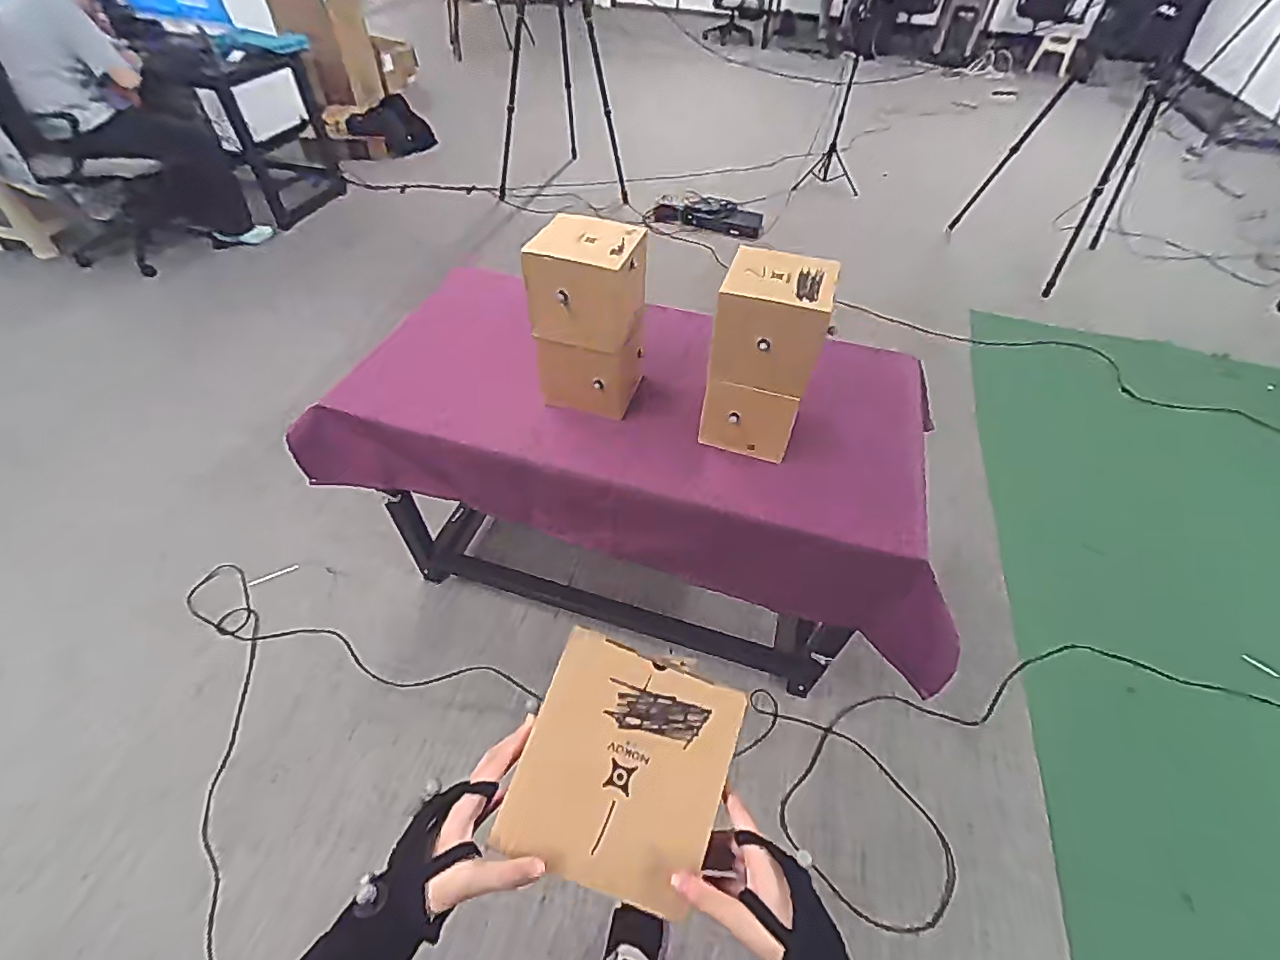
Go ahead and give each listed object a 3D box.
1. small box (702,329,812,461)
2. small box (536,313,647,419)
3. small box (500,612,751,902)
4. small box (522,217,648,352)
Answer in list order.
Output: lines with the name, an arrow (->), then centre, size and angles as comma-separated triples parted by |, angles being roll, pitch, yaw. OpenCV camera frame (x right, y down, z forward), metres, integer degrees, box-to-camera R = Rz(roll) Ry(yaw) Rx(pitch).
small box -> 0.223, -0.163, 1.057 | 0.168, 0.176, 0.179 | 16, 49, 11
small box -> -0.095, -0.249, 1.119 | 0.179, 0.176, 0.168 | 15, 49, 10
small box -> -0.017, 0.245, 0.520 | 0.168, 0.176, 0.179 | 22, 70, 0
small box -> -0.094, -0.357, 0.995 | 0.179, 0.176, 0.168 | 15, 50, 11
